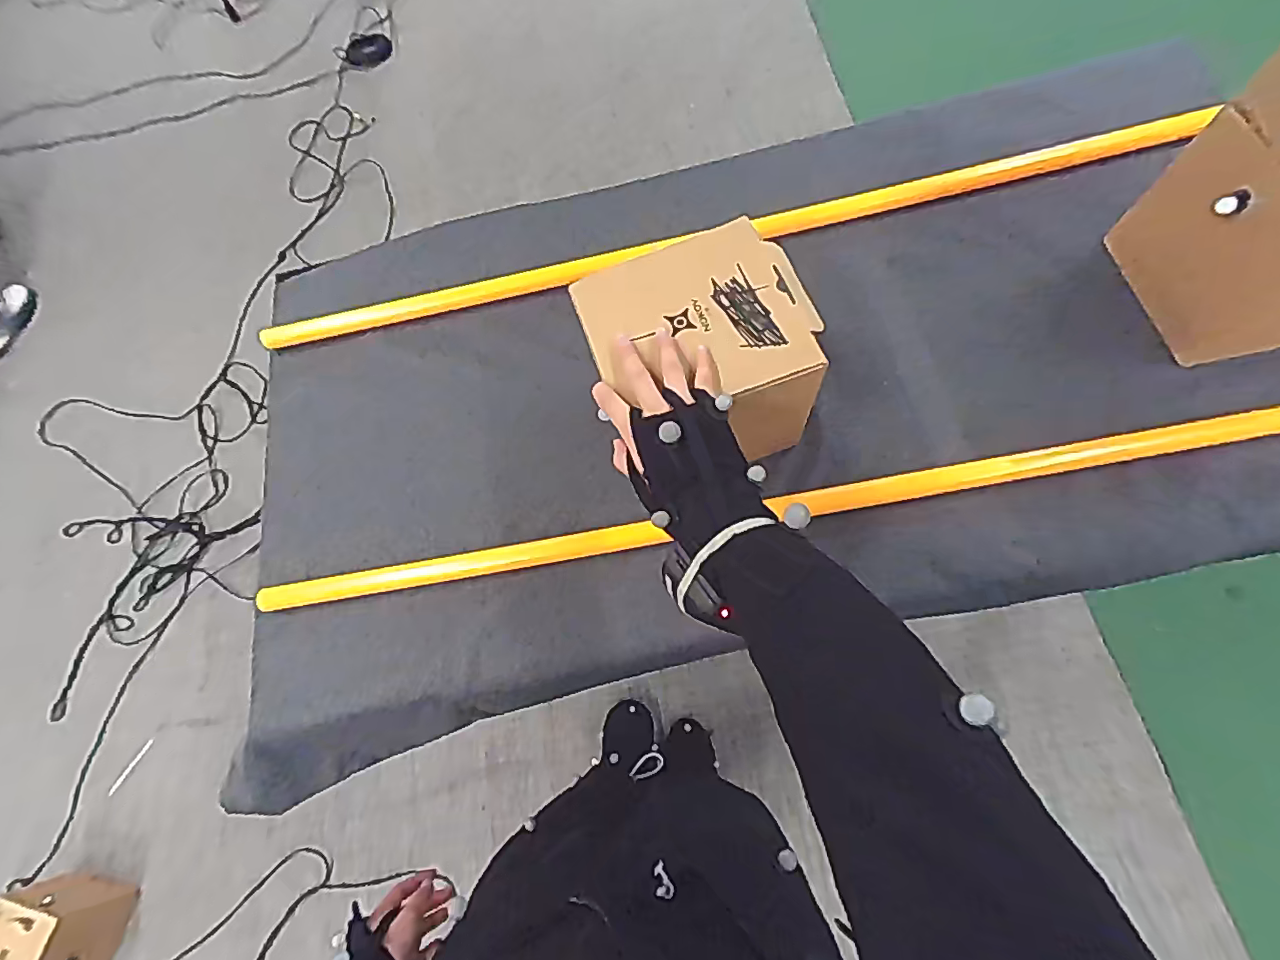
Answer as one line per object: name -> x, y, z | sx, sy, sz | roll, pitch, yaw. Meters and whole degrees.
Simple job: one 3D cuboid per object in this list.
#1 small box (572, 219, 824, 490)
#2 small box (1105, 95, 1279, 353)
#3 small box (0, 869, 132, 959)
small box -> 0.053, -0.111, 0.536 | 0.179, 0.176, 0.168 | -20, 69, 1
small box -> 0.605, -0.239, 0.507 | 0.168, 0.176, 0.179 | -12, 69, 4
small box -> -1.215, 0.944, 1.108 | 0.168, 0.176, 0.179 | 8, 72, 11
